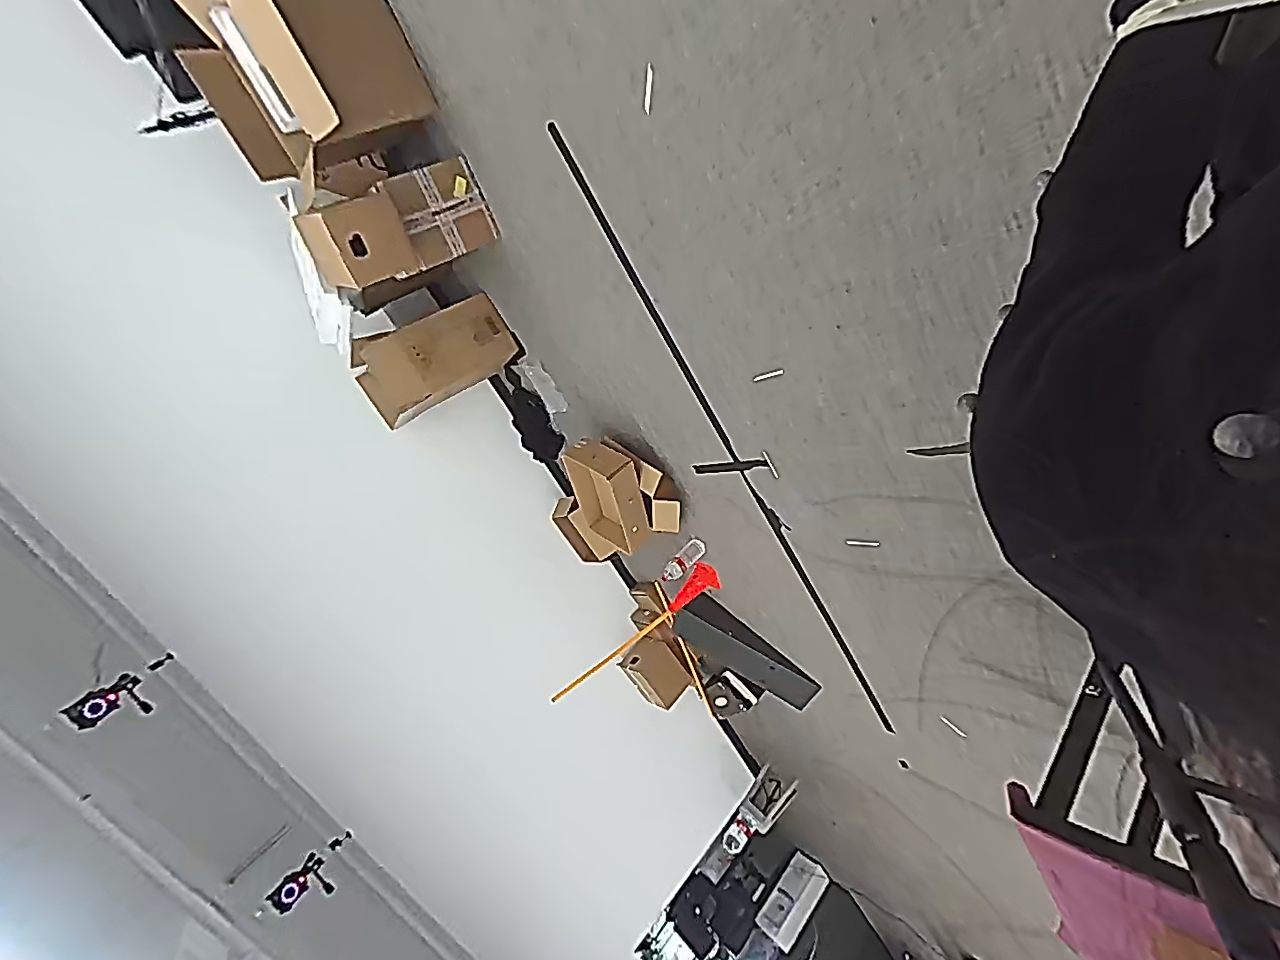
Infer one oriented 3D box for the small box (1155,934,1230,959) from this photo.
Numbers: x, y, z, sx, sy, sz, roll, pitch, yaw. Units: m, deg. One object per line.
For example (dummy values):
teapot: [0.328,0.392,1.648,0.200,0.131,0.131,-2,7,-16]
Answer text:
small box: [1.154,1.065,1.078,0.179,0.176,0.168,-3,123,57]
